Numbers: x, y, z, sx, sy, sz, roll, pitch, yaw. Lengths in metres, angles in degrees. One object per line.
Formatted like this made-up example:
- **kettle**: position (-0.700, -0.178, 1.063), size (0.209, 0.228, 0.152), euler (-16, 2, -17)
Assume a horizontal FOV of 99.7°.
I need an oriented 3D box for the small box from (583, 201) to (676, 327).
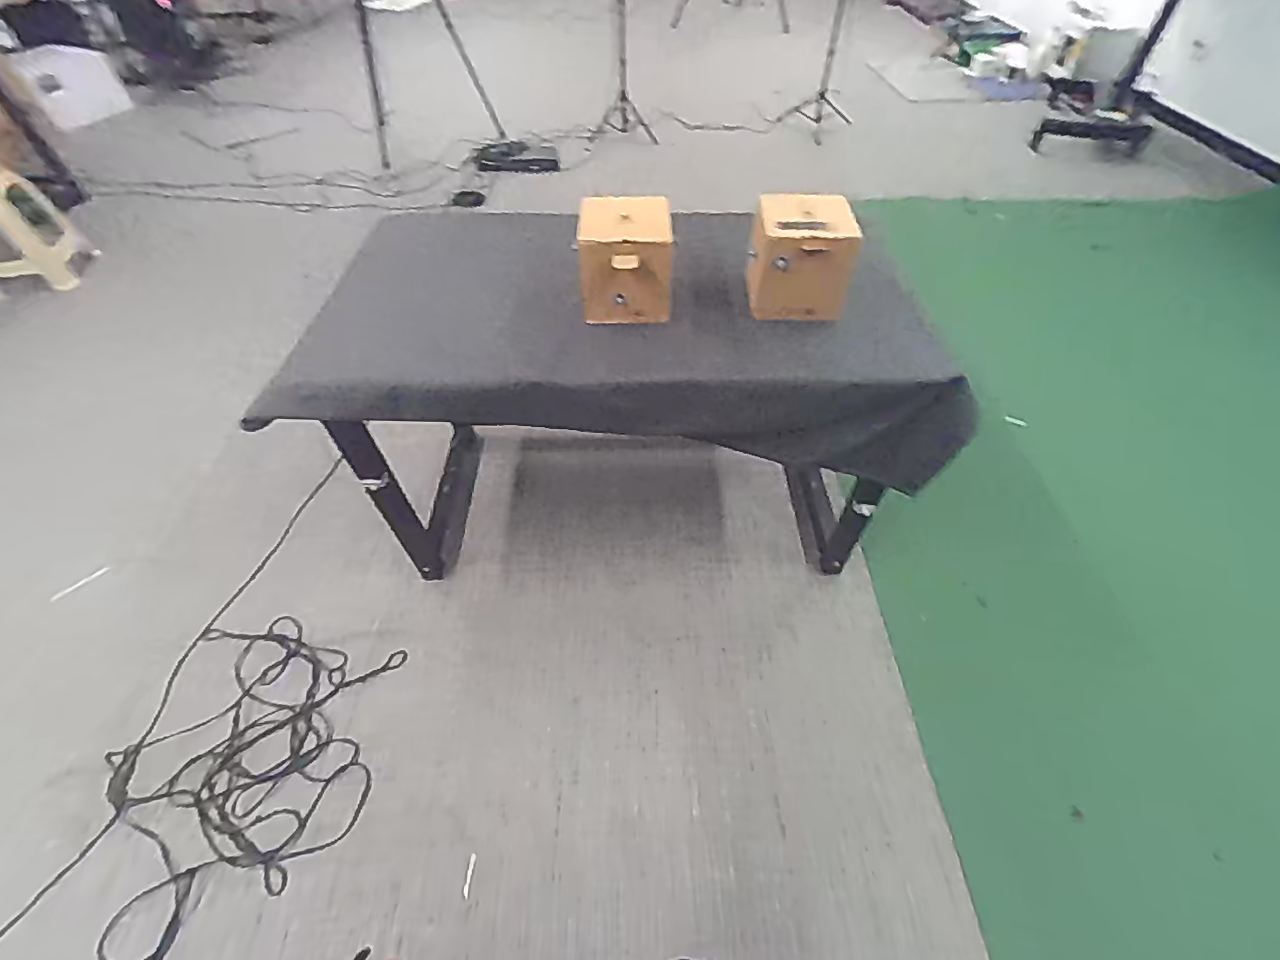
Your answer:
- **small box**: position (-0.021, -0.419, 1.051), size (0.168, 0.176, 0.179), euler (0, 51, -1)
